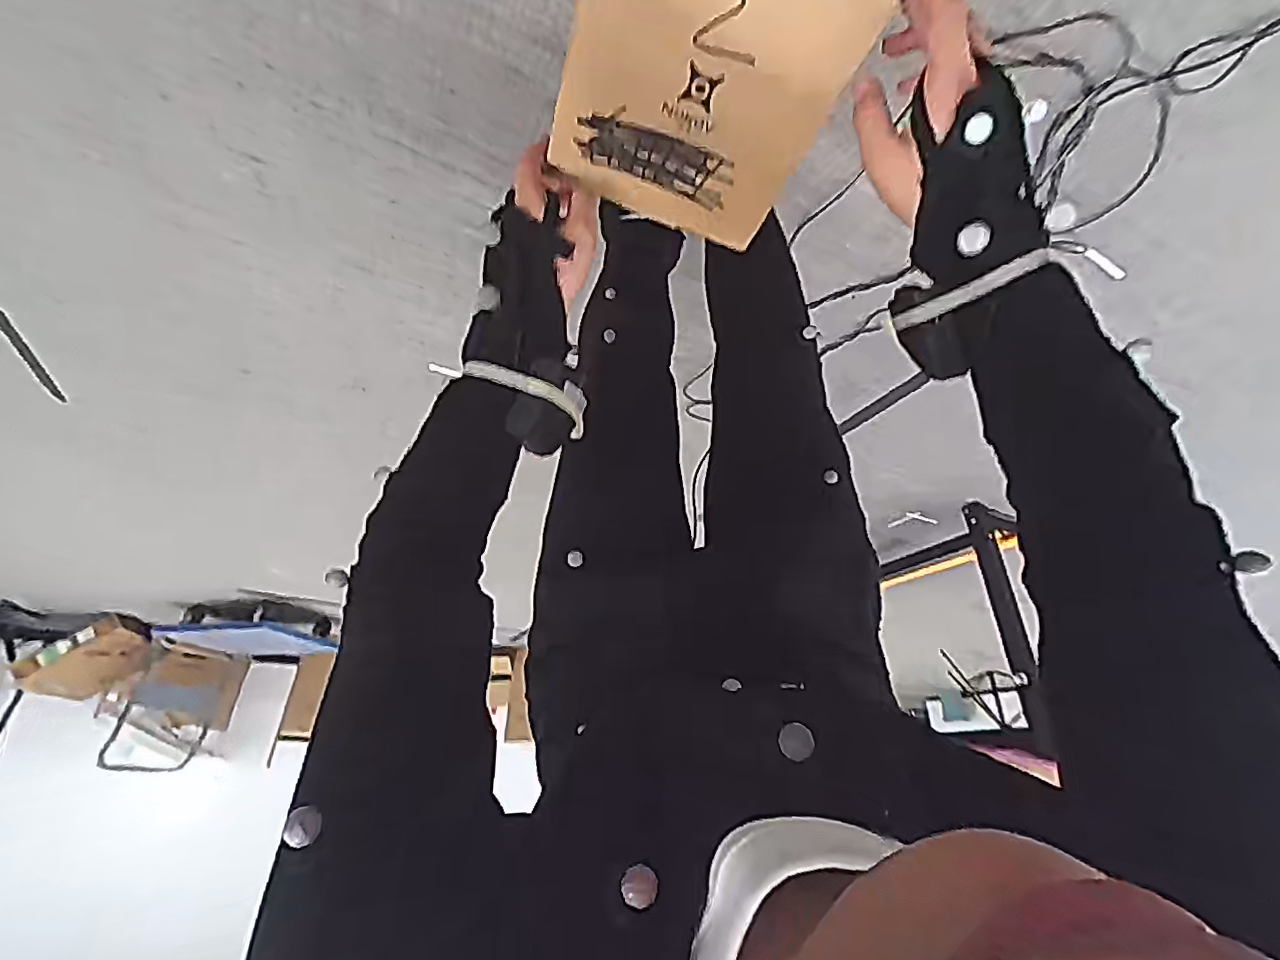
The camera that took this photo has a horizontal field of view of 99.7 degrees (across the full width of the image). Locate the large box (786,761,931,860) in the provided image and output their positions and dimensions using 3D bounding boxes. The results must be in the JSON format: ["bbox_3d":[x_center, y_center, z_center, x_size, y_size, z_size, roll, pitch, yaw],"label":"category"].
[{"bbox_3d":[0.850,1.299,2.145,0.408,0.320,0.320,14,149,-23],"label":"large box"}]
